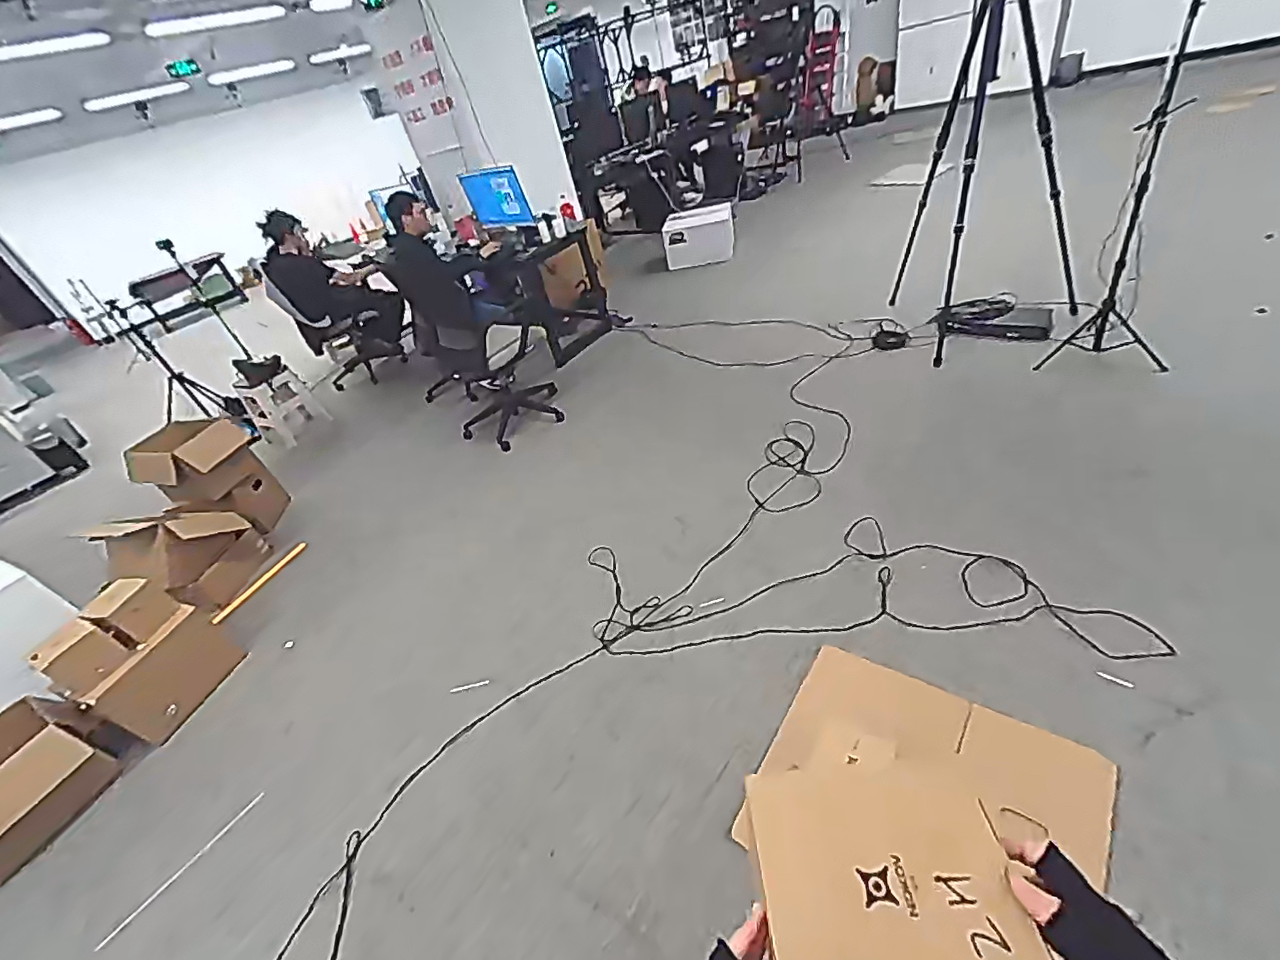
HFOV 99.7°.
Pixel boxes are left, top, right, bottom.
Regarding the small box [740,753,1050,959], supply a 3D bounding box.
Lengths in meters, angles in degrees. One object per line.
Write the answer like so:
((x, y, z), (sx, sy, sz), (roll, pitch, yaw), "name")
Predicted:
((0.182, 0.342, 0.430), (0.179, 0.176, 0.168), (-7, 41, 4), "small box")
